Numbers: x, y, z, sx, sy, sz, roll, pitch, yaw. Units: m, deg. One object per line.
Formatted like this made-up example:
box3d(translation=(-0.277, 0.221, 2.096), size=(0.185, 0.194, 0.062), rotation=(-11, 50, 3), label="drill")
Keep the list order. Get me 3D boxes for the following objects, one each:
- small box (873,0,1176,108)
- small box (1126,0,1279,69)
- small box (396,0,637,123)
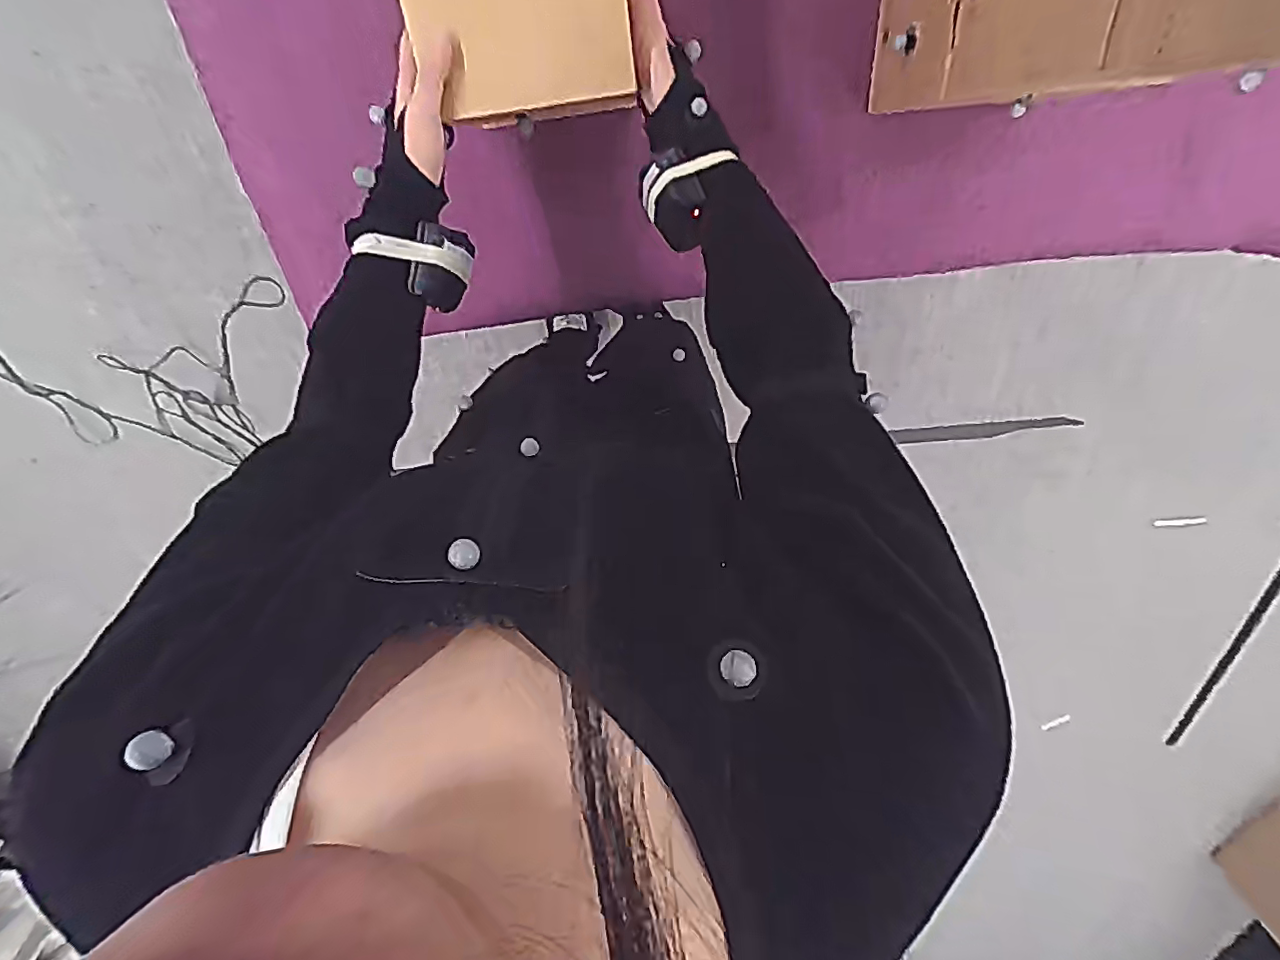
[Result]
box3d(translation=(0.310, -0.409, 0.436), size=(0.179, 0.176, 0.168), rotation=(-4, 122, 2), label="small box")
box3d(translation=(0.317, -0.236, 0.156), size=(0.179, 0.176, 0.168), rotation=(-4, 121, 3), label="small box")
box3d(translation=(-0.094, -0.406, 0.443), size=(0.168, 0.176, 0.179), rotation=(-6, 120, 5), label="small box")
